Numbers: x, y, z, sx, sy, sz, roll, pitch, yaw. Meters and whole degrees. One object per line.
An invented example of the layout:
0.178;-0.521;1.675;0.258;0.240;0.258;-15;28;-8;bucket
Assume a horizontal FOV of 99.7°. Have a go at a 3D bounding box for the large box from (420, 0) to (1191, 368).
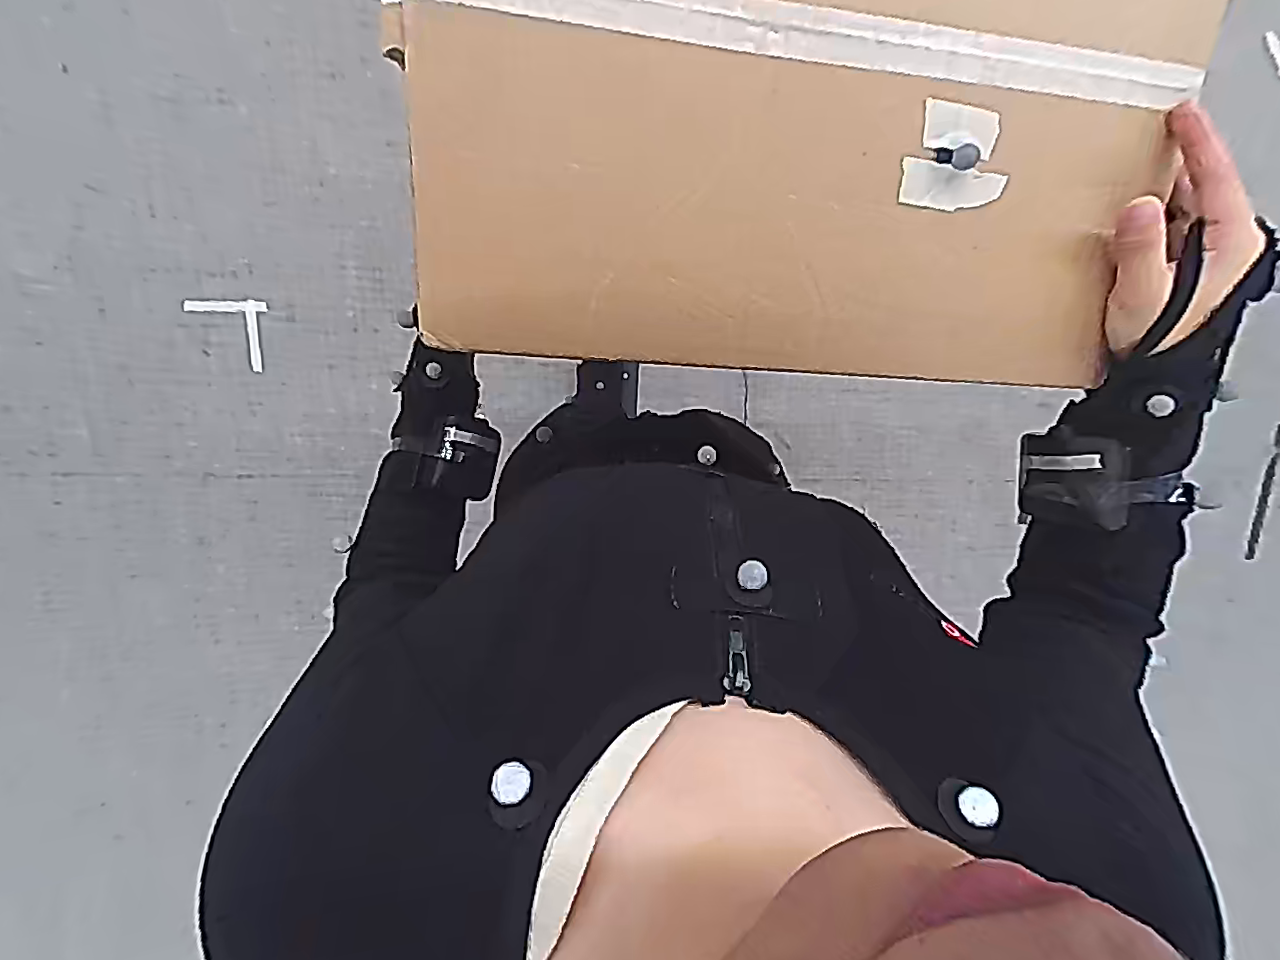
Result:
0.070;-0.262;0.412;0.408;0.320;0.320;1;108;-10;large box
